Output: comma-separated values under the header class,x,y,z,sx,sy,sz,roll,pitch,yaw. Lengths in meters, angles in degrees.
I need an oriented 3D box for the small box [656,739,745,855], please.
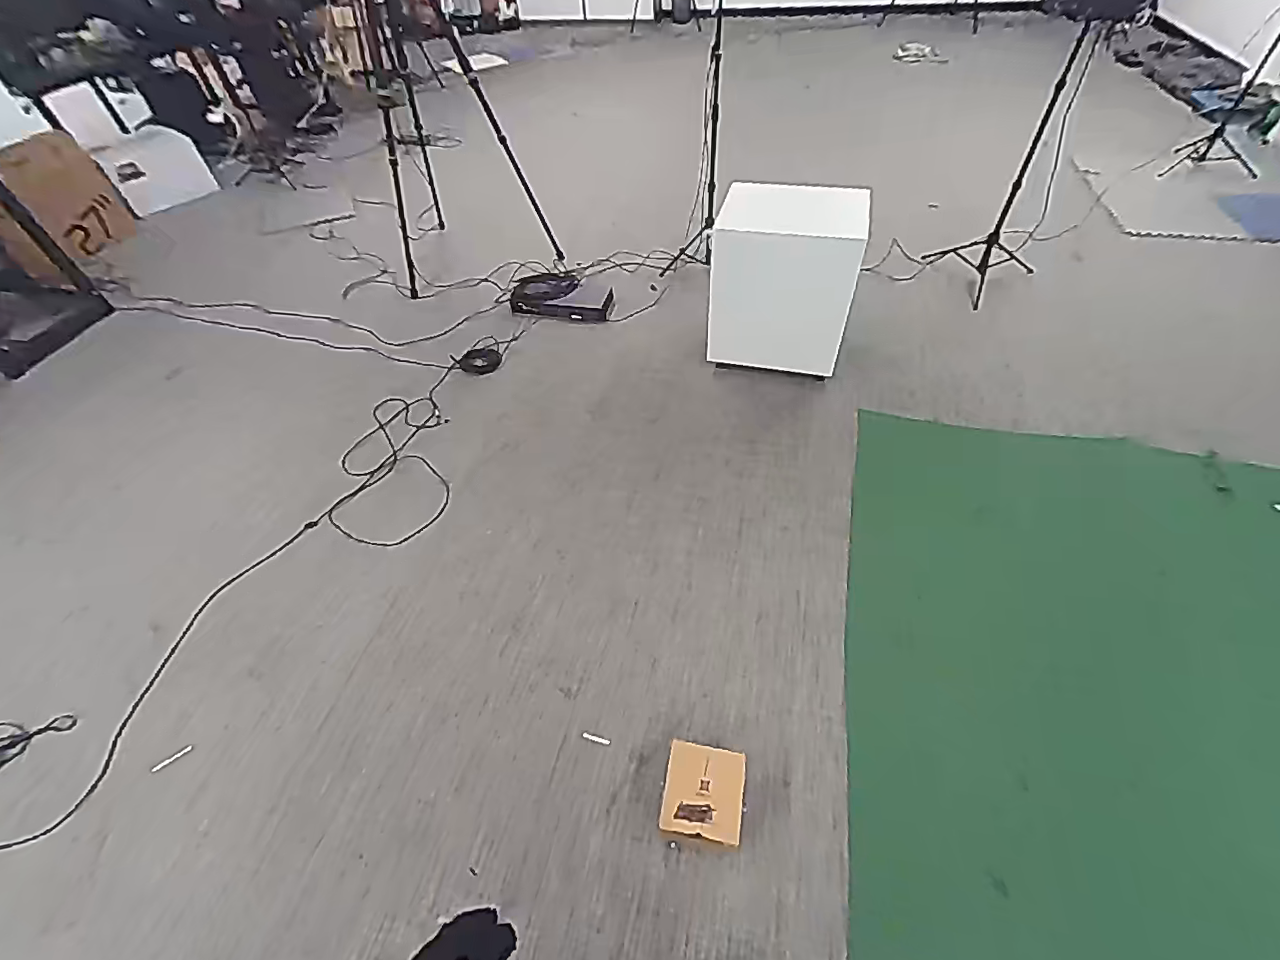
class,x,y,z,sx,sy,sz,roll,pitch,yaw
small box,0.136,0.704,1.196,0.168,0.176,0.179,8,50,10
